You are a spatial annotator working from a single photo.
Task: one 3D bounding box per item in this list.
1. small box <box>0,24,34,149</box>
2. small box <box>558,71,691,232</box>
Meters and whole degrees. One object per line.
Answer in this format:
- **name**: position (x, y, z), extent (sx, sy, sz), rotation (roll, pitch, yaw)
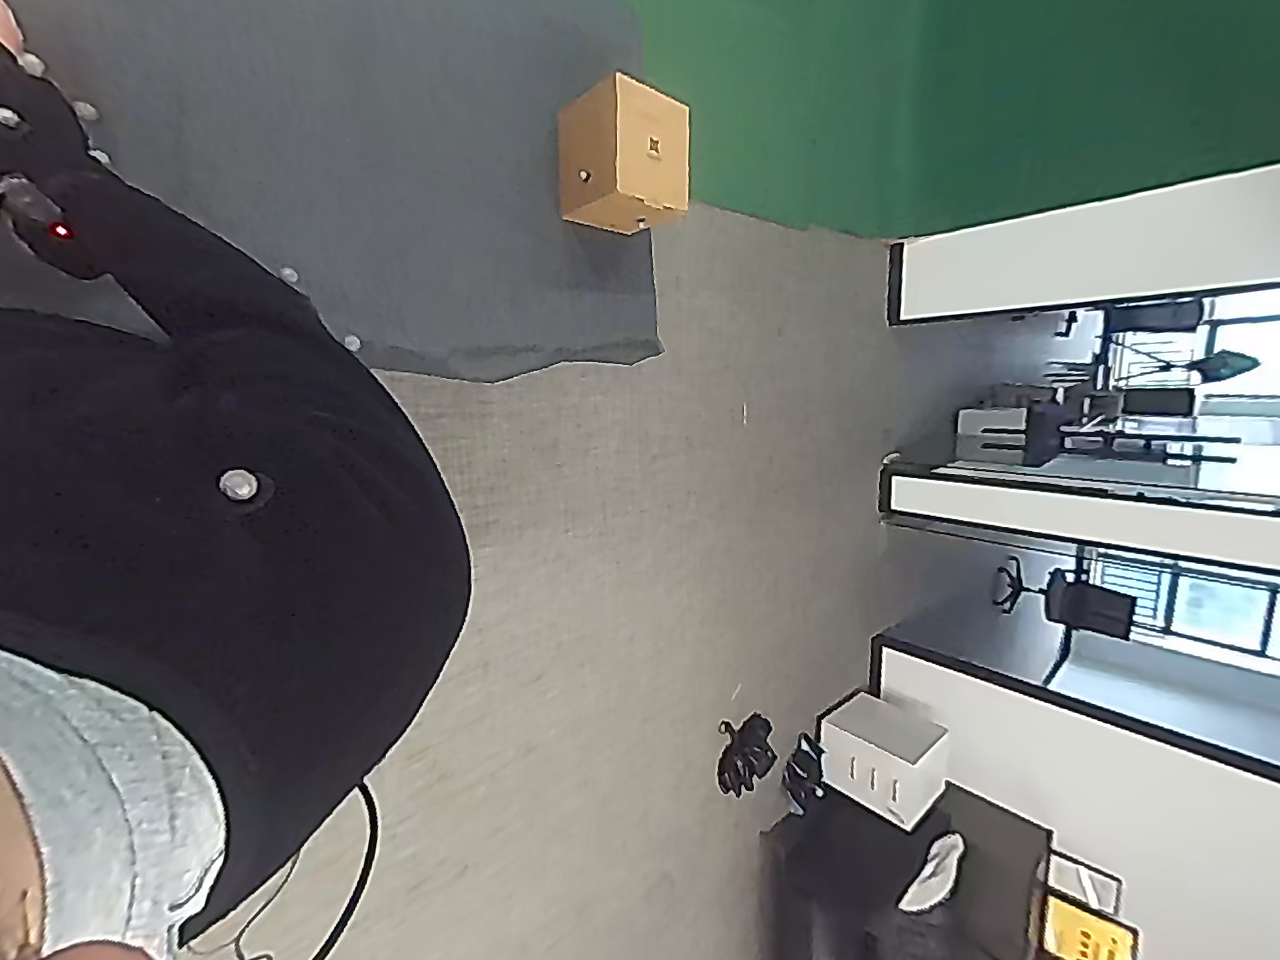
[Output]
- **small box**: position (-0.626, -0.380, 0.423), extent (0.168, 0.176, 0.179), rotation (-17, 115, -40)
- **small box**: position (-0.029, -0.551, 0.941), extent (0.168, 0.176, 0.179), rotation (-10, 101, -41)
